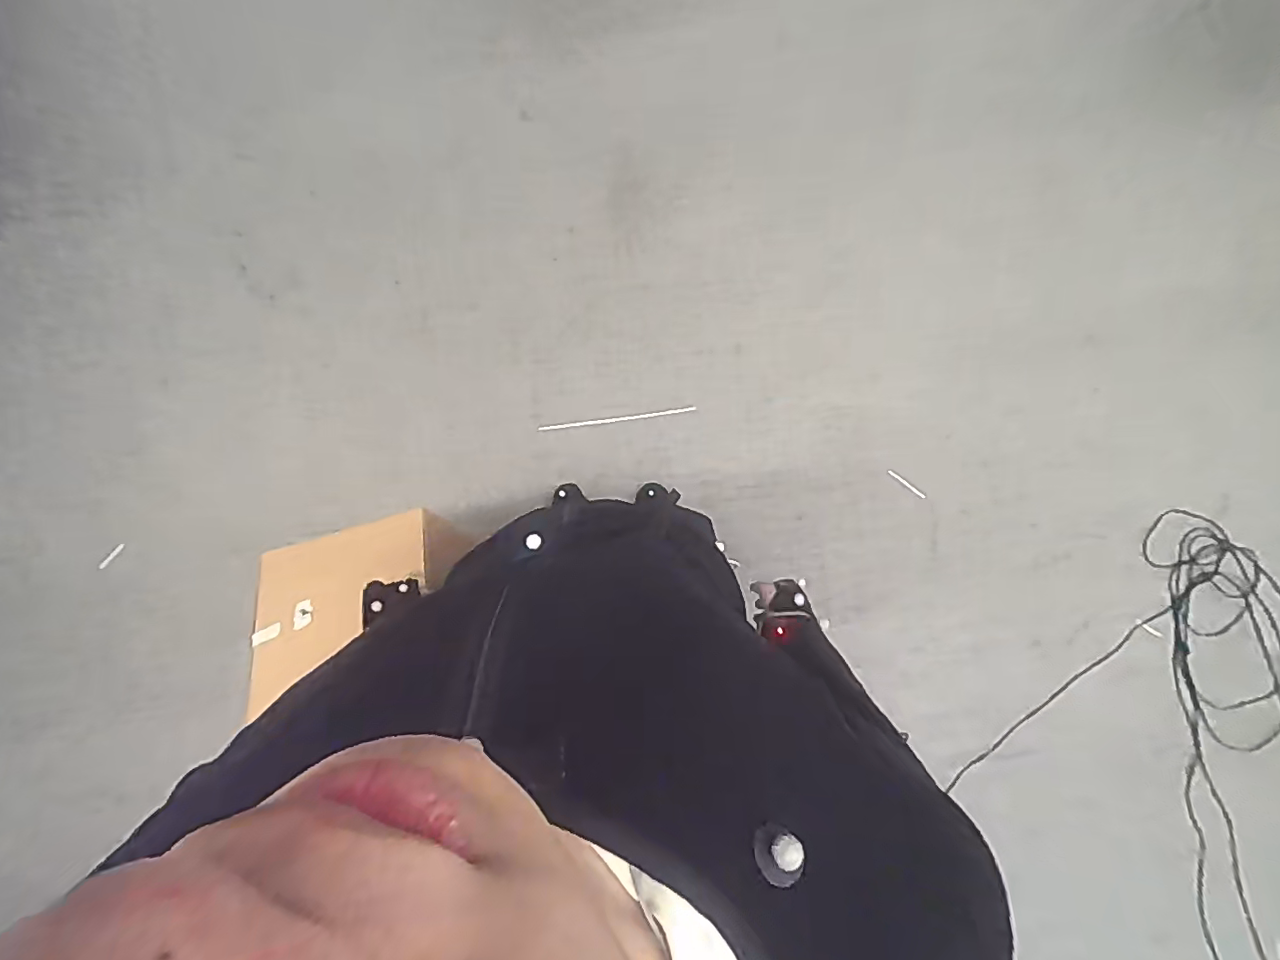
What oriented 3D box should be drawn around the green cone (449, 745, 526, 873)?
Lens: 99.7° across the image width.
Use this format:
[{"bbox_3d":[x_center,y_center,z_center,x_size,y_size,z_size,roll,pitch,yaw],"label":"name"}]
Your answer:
[{"bbox_3d":[-0.444,0.909,1.469,0.200,0.368,0.202,-1,92,-1],"label":"green cone"}]
